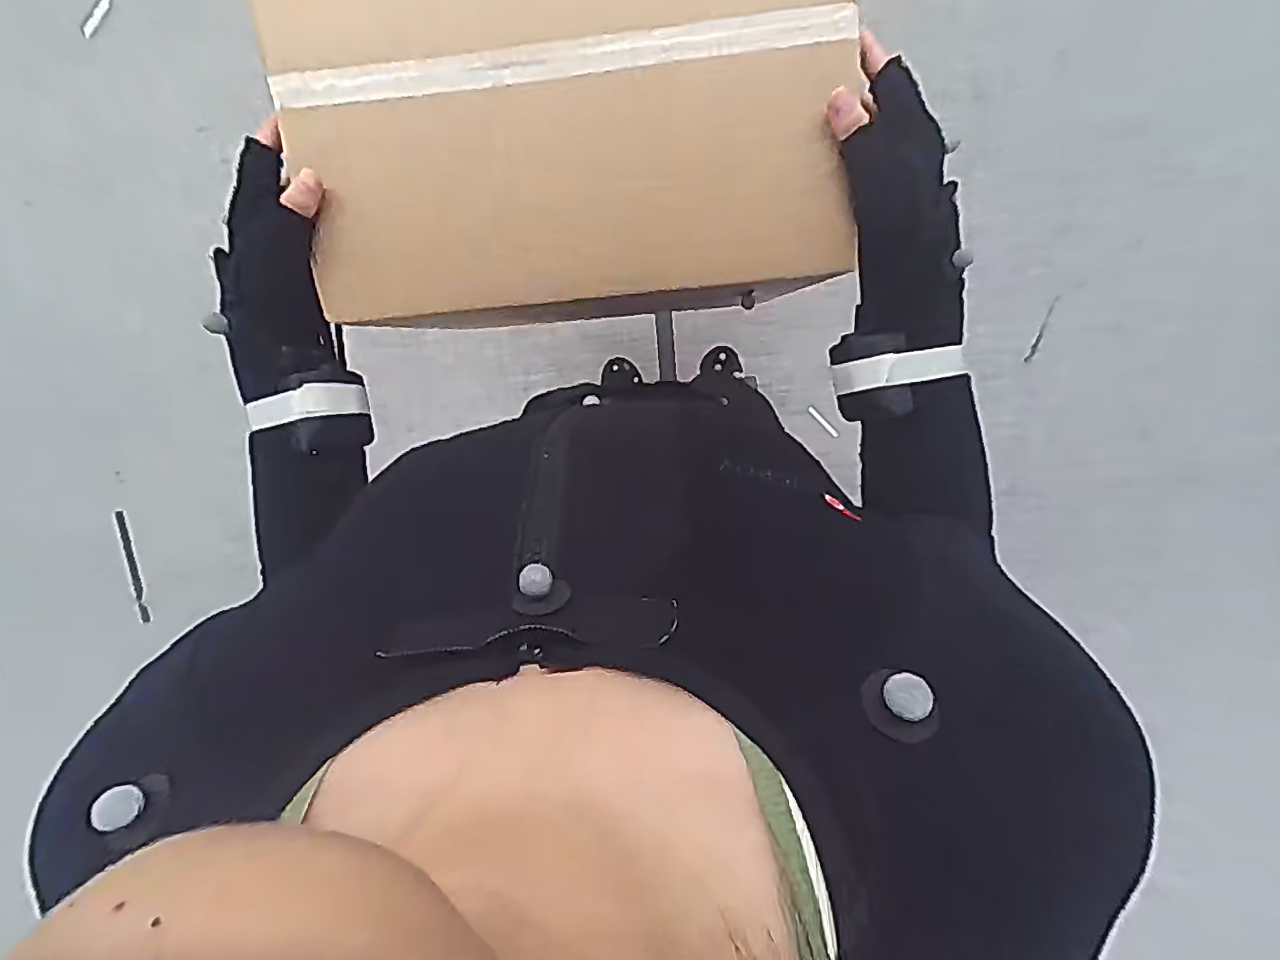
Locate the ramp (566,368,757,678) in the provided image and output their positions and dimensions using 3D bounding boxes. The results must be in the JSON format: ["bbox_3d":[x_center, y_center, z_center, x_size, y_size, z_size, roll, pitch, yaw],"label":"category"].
[{"bbox_3d":[0.097,0.182,1.619,0.509,0.206,0.991,-7,102,3],"label":"ramp"}]

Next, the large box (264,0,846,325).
[{"bbox_3d":[-0.053,-0.329,0.523,0.408,0.320,0.320,-5,104,2],"label":"large box"}]
